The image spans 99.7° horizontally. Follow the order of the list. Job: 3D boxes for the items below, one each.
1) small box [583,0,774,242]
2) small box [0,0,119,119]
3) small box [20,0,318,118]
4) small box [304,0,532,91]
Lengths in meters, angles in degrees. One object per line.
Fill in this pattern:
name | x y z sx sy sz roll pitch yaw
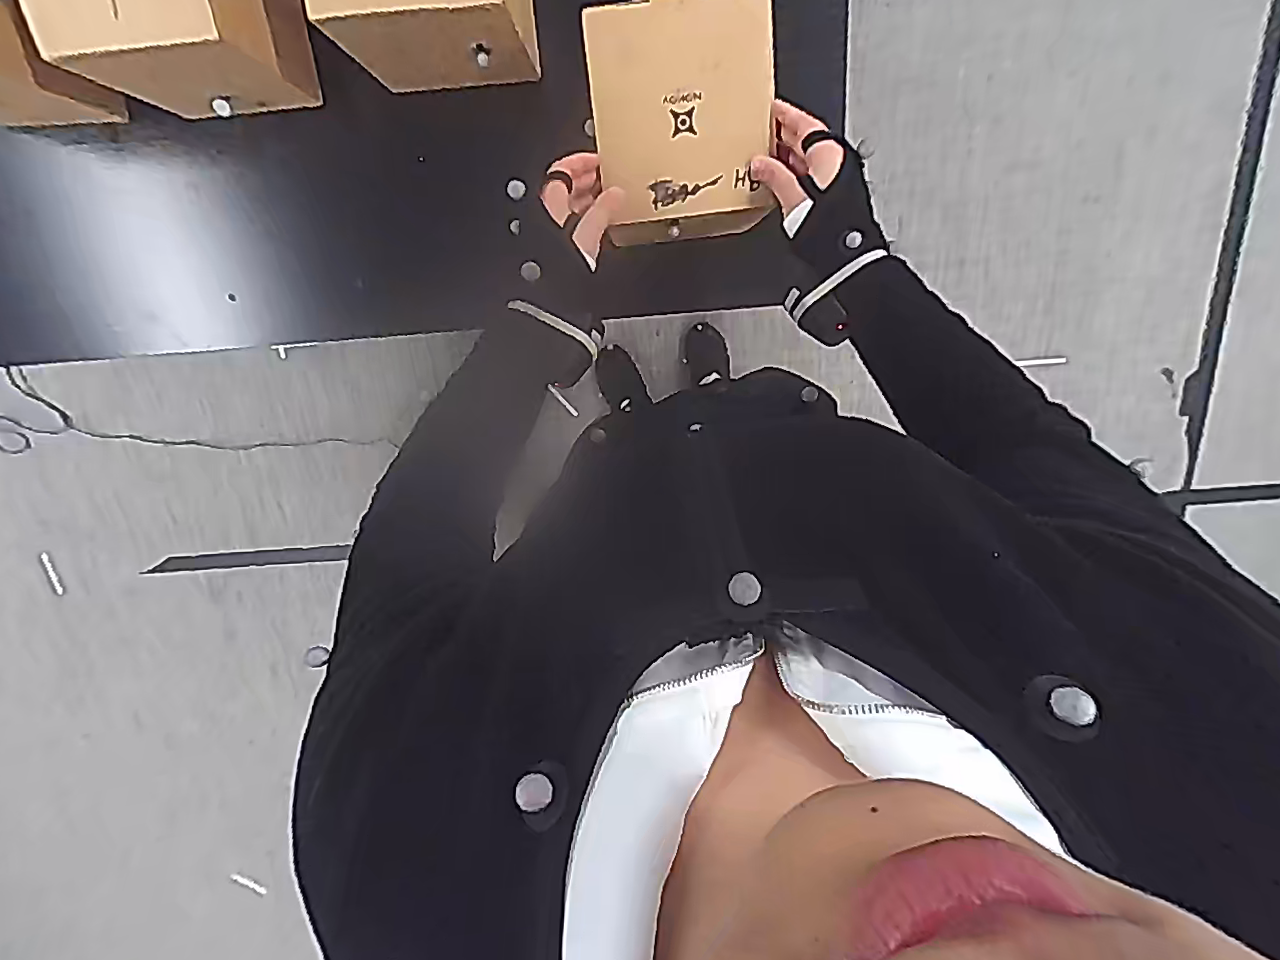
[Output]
small box | 0.038 -0.360 0.565 0.168 0.176 0.179 -6 107 3
small box | -0.680 -0.475 0.530 0.168 0.176 0.179 -2 107 0
small box | -0.456 -0.486 0.526 0.168 0.176 0.179 -6 109 1
small box | -0.208 -0.507 0.522 0.179 0.176 0.168 -4 106 2
